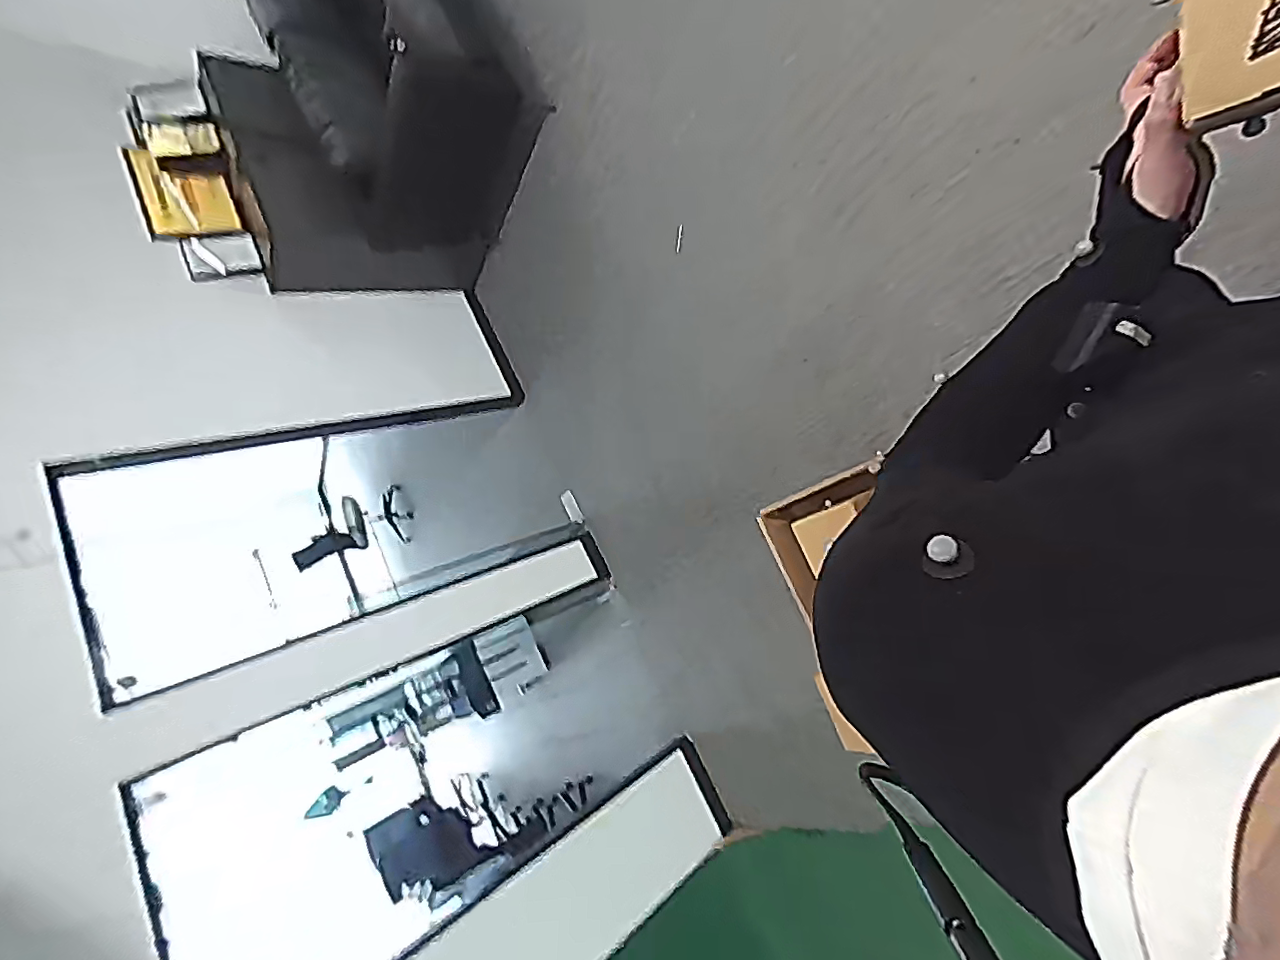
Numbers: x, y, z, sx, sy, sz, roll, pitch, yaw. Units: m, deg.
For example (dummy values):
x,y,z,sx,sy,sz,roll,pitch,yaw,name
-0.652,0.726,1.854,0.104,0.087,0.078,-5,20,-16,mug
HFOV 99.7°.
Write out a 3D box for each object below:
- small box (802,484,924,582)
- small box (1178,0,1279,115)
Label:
x,y,z,sx,sy,sz,roll,pitch,yaw,name
0.529,0.125,1.282,0.179,0.176,0.168,-35,76,50,small box
0.439,-0.347,0.318,0.168,0.176,0.179,-1,110,49,small box
